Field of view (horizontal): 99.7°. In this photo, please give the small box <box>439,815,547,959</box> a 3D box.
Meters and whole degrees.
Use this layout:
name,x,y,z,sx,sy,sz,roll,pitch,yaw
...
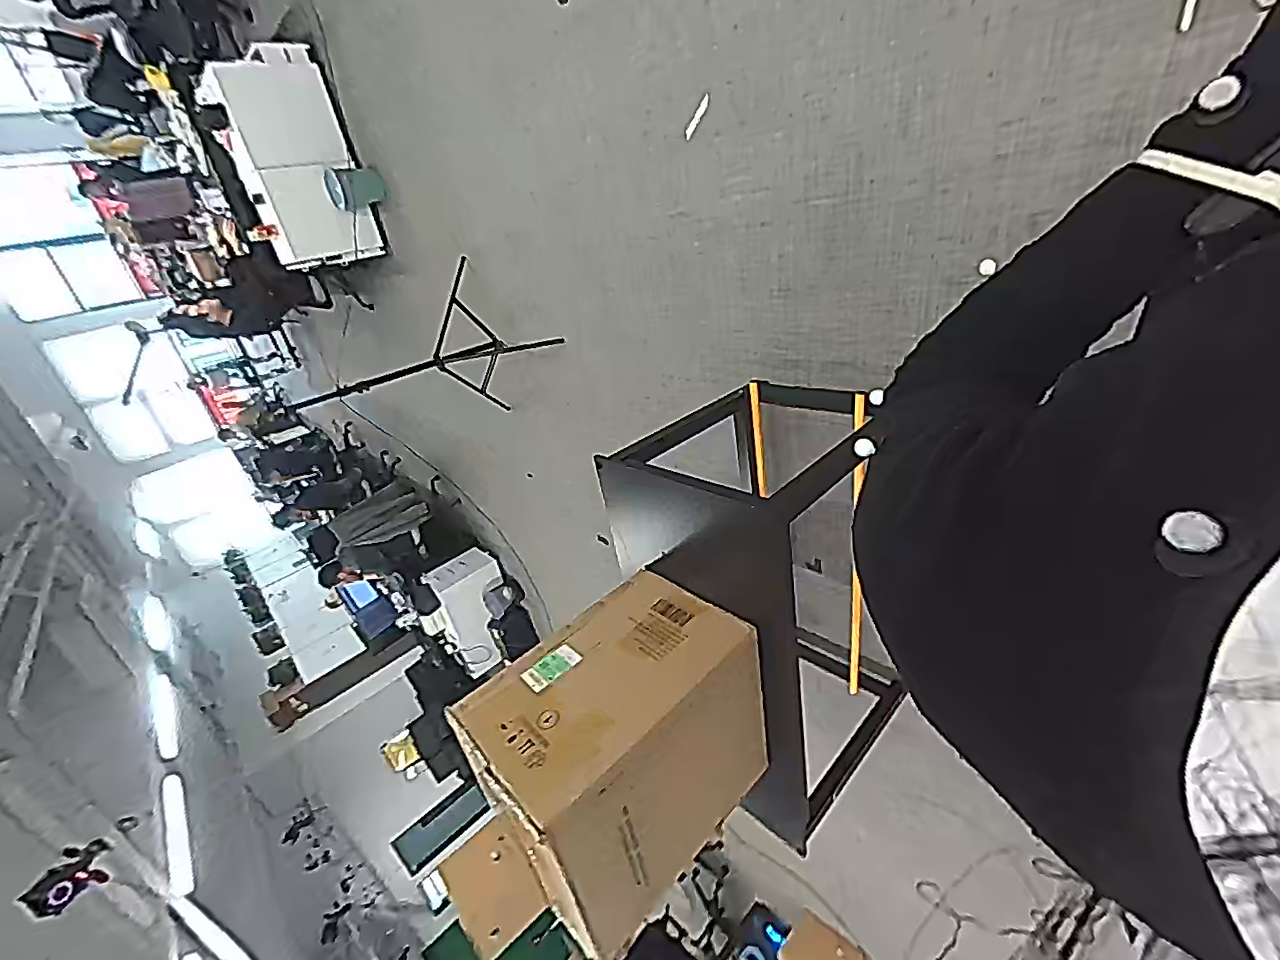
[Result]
name,x,y,z,sx,sy,sz,roll,pitch,yaw
small box,-0.338,0.944,1.266,0.168,0.176,0.179,21,129,46
